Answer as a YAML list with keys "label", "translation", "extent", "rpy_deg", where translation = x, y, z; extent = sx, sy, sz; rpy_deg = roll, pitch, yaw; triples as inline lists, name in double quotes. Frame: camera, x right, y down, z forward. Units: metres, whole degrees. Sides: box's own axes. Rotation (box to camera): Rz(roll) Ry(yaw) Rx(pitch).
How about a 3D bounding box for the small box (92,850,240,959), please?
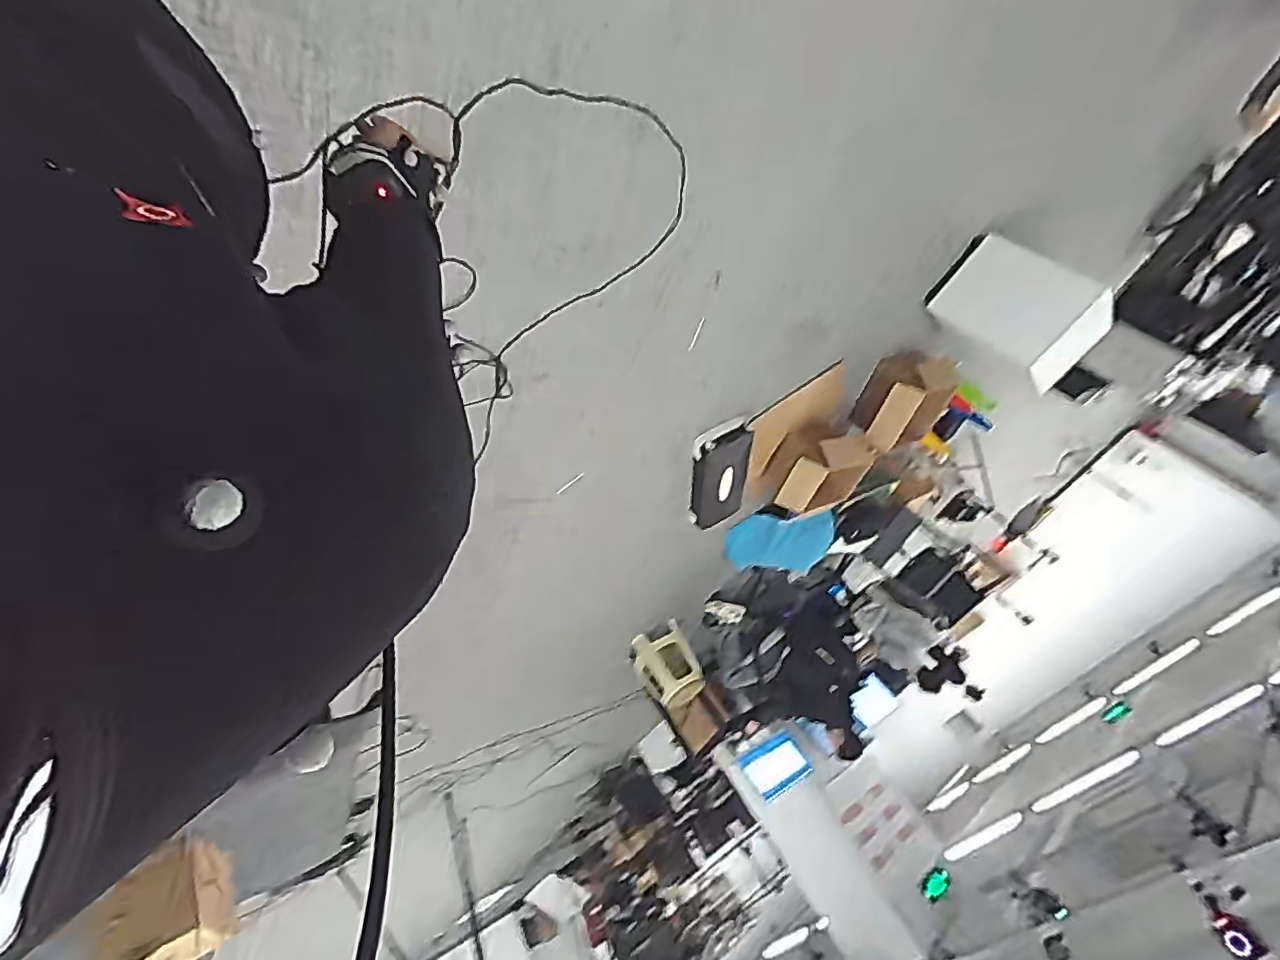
- label: "small box"
  translation: [-0.903, 0.848, 1.034]
  extent: [0.168, 0.176, 0.179]
  rpy_deg: [-19, 143, -26]
